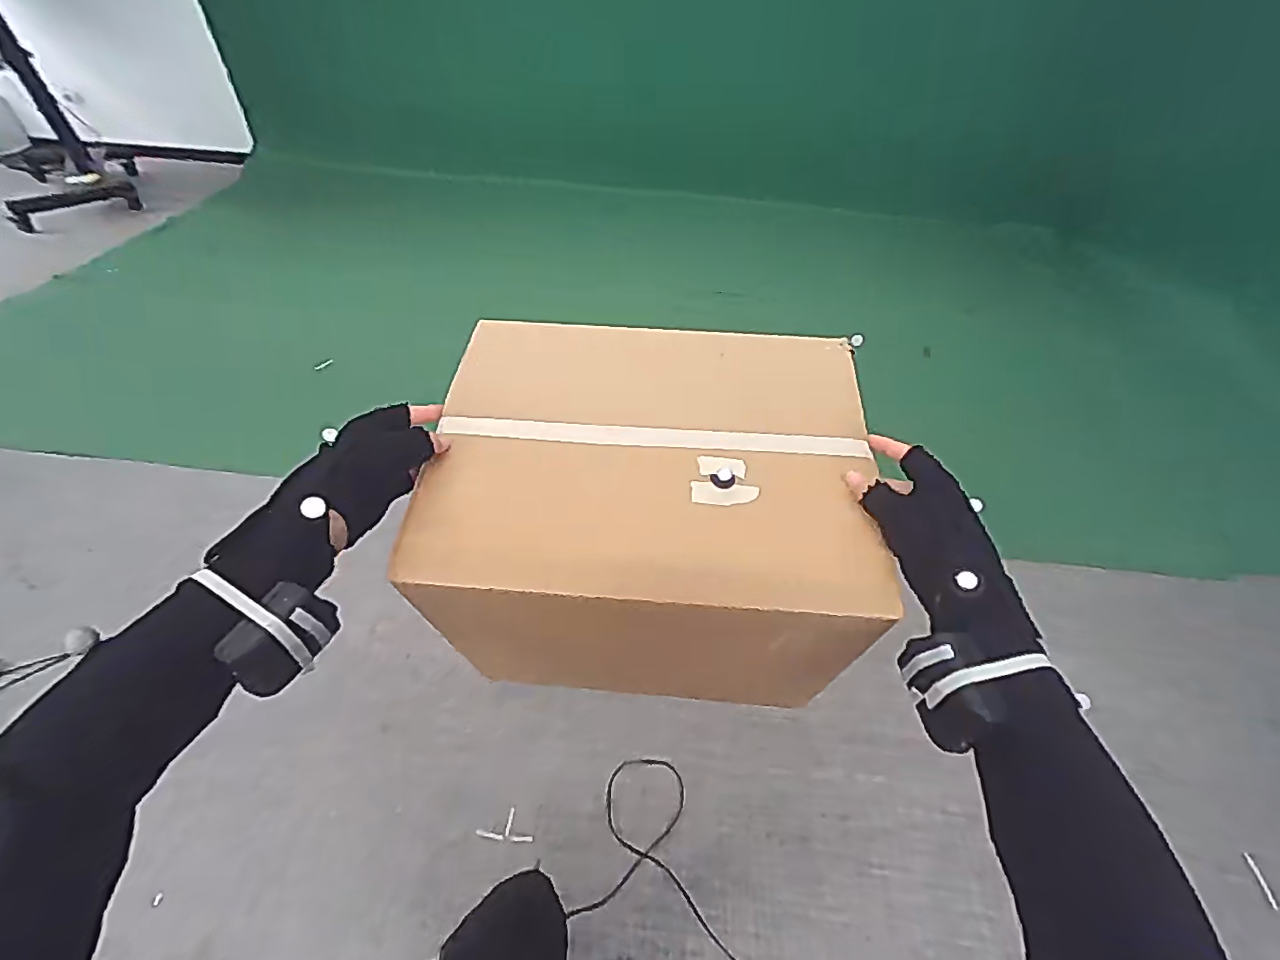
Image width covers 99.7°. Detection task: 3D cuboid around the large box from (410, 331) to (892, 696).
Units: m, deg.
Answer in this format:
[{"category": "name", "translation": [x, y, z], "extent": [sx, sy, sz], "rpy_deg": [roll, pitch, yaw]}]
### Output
[{"category": "large box", "translation": [0.013, 0.050, 0.643], "extent": [0.408, 0.320, 0.320], "rpy_deg": [4, 56, 2]}]
